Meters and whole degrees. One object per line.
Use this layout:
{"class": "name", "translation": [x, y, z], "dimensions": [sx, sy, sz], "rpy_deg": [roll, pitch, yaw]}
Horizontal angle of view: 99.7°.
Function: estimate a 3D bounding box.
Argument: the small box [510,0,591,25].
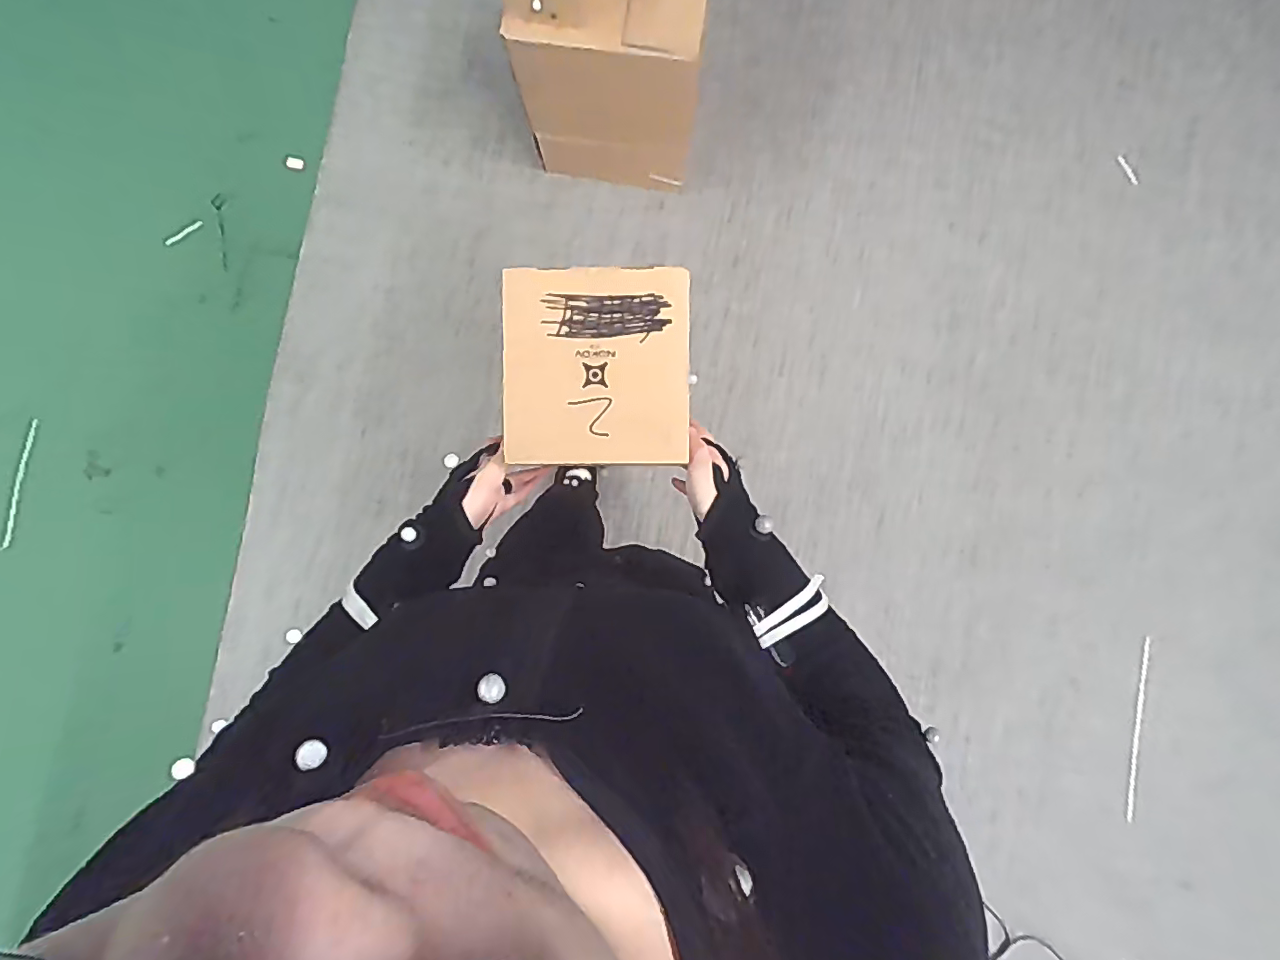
{"class": "small box", "translation": [-0.170, -1.024, 1.018], "dimensions": [0.168, 0.176, 0.179], "rpy_deg": [11, 91, 0]}
